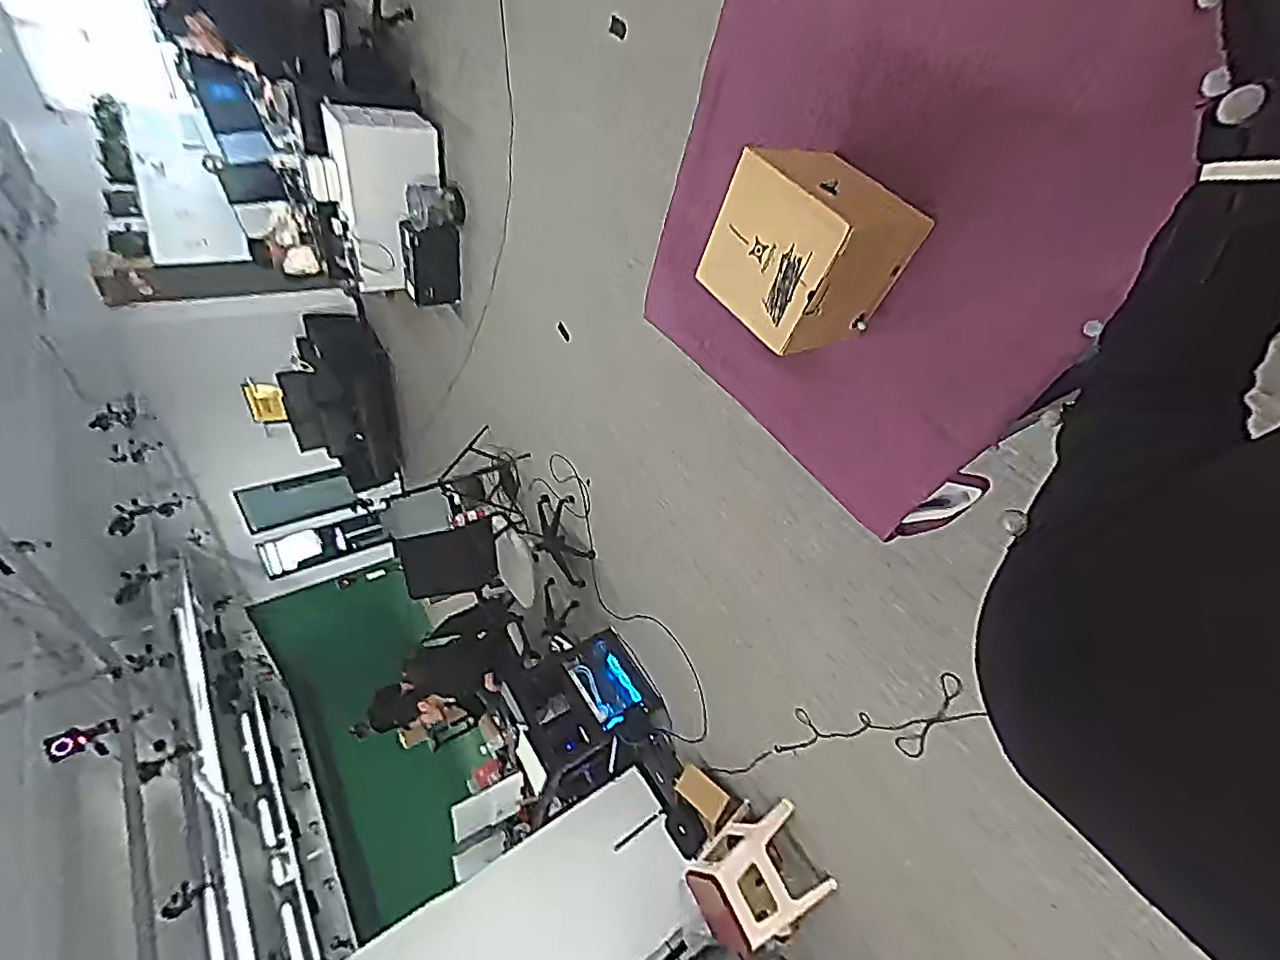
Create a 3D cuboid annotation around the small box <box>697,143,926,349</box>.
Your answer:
[{"bbox_3d":[0.208,-0.293,0.673,0.179,0.176,0.168,53,144,26],"label":"small box"}]
